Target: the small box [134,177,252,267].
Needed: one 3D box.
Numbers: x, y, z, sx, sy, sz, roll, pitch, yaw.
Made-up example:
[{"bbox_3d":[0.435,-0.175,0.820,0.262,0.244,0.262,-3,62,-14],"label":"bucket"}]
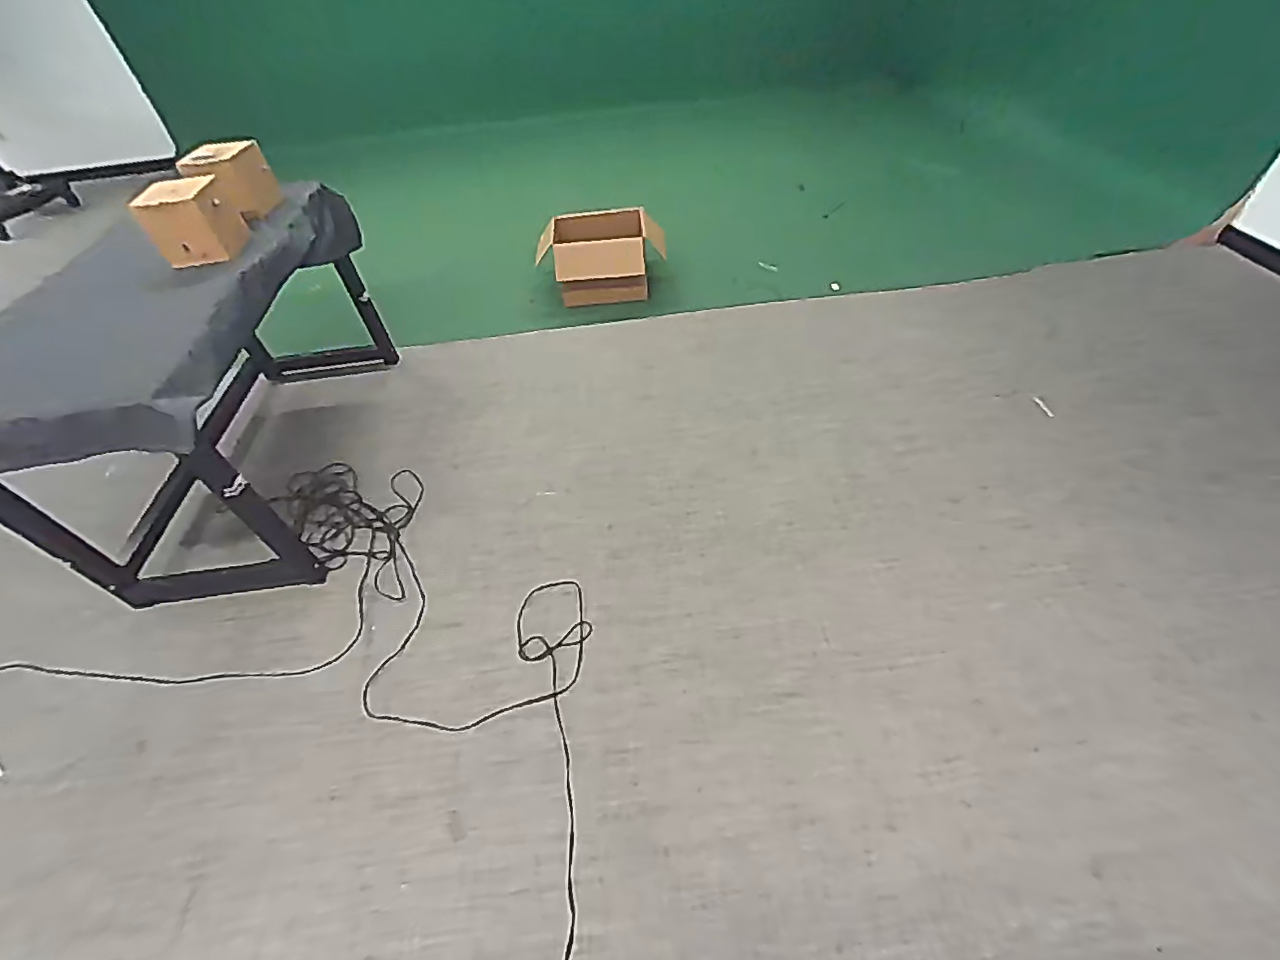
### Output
[{"bbox_3d":[-1.227,-0.717,1.505,0.168,0.176,0.179,-9,49,-3],"label":"small box"}]
